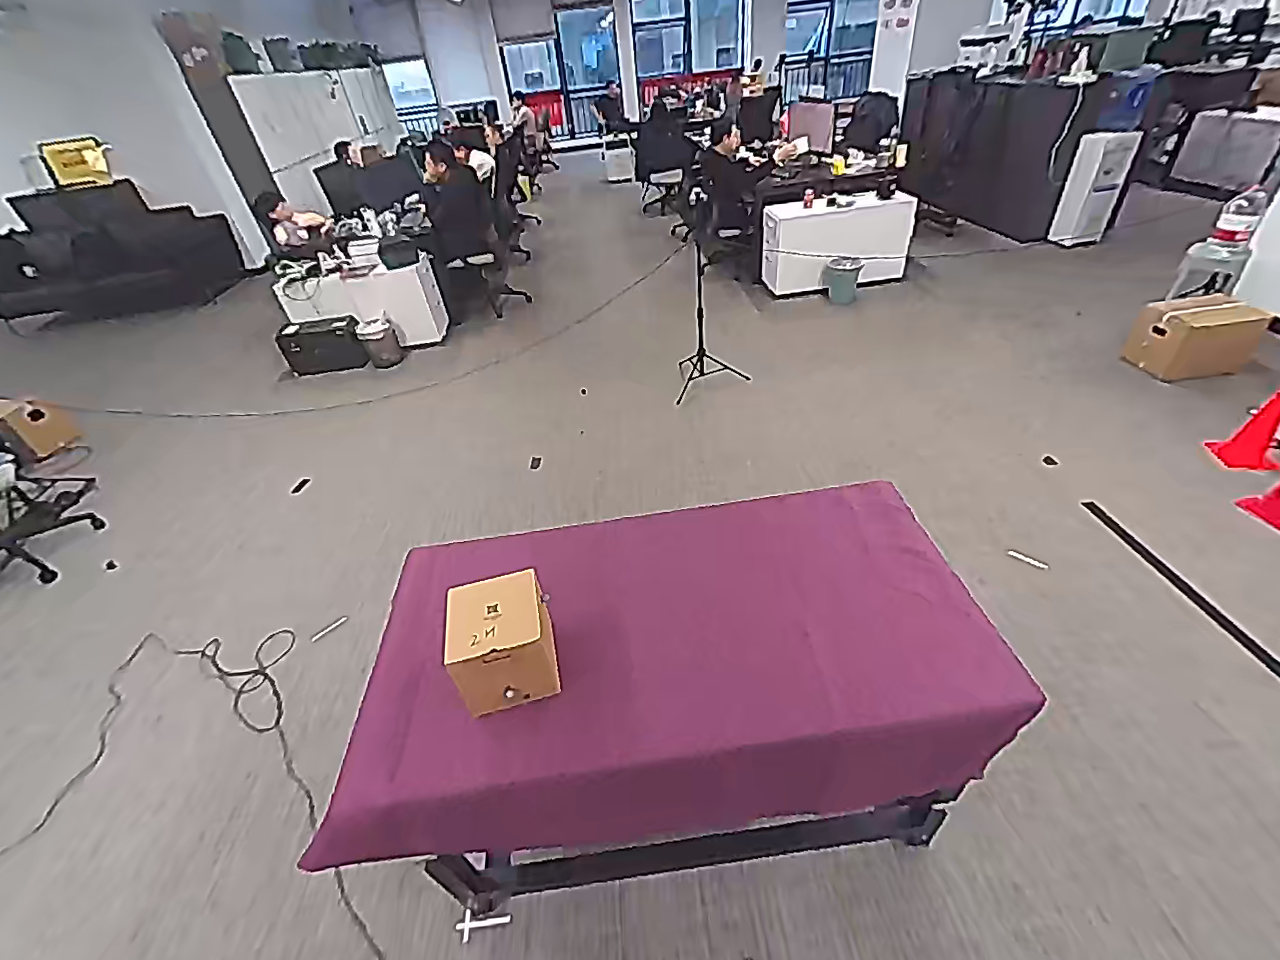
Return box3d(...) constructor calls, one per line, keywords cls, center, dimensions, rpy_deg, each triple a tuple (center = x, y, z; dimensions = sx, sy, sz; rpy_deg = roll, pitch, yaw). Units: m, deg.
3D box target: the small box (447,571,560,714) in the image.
box3d(cls="small box", center=(-0.254, 0.306, 1.024), dimensions=(0.168, 0.176, 0.179), rpy_deg=(-13, 39, -7))
